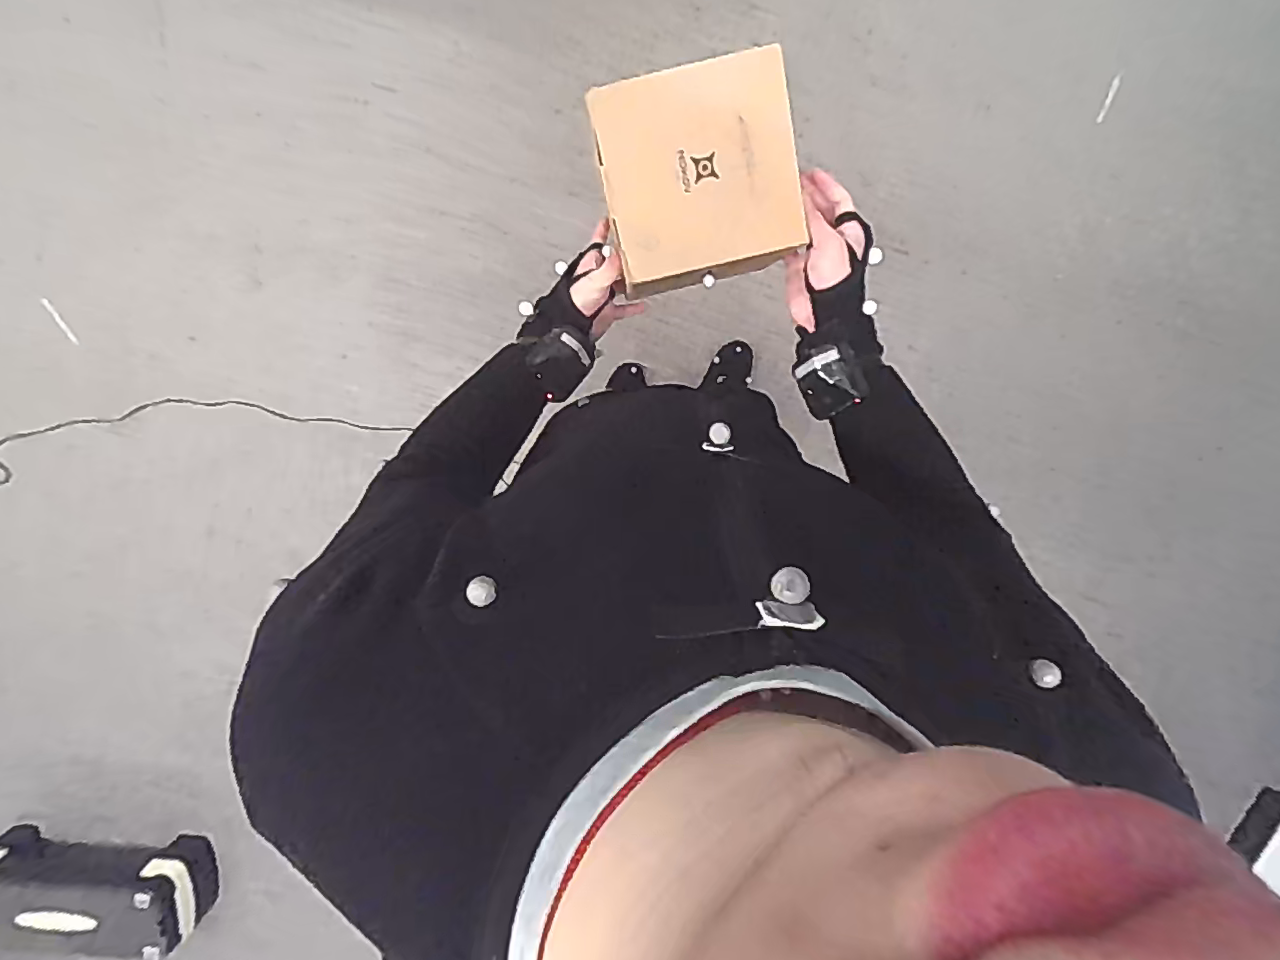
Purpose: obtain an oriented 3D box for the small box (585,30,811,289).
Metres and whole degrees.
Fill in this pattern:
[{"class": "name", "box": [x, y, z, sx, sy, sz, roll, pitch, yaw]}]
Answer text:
[{"class": "small box", "box": [0.052, -0.302, 0.552, 0.179, 0.176, 0.168, -14, 105, 1]}]
